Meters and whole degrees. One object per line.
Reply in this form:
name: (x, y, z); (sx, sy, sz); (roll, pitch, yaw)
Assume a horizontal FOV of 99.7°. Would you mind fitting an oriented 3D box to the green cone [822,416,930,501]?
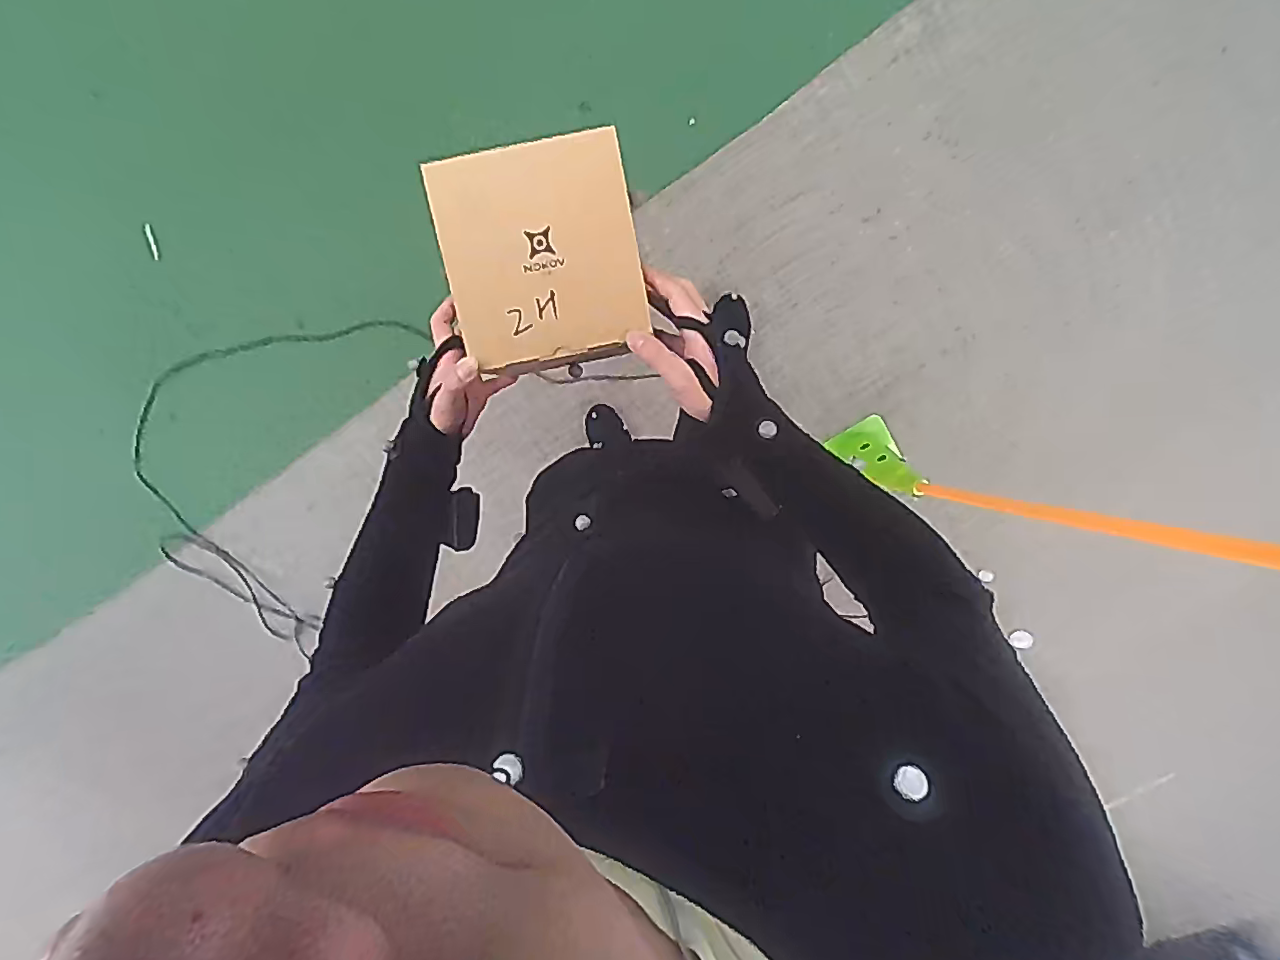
green cone: (0.653, -0.021, 1.410); (0.202, 0.368, 0.200); (-32, 100, 9)
